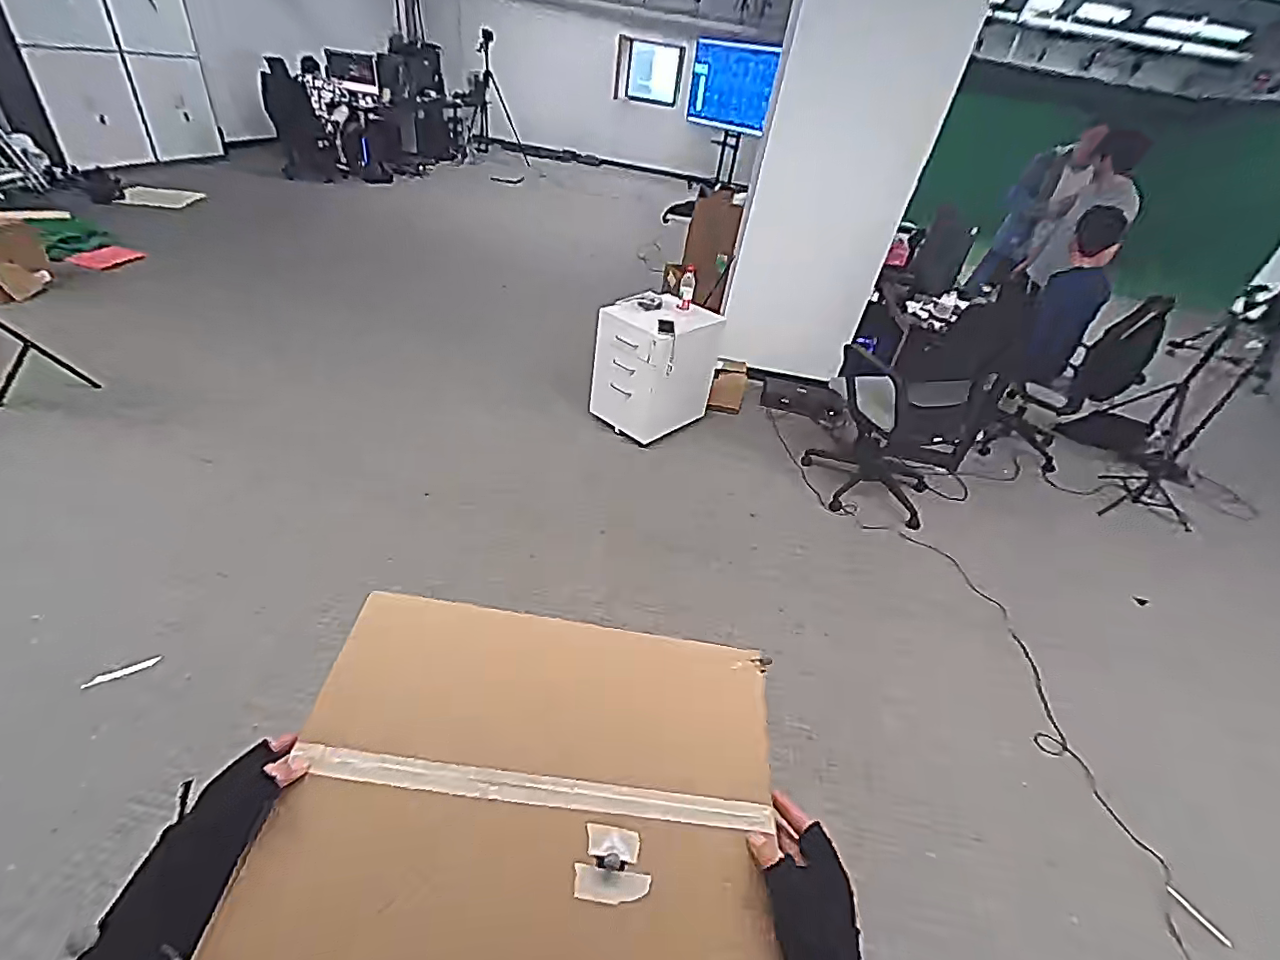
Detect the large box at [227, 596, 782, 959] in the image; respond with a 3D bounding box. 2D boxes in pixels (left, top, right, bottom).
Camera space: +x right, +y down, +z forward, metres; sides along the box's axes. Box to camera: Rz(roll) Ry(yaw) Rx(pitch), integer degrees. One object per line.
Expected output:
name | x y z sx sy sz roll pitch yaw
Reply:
large box | -0.104 0.362 0.579 0.408 0.320 0.320 11 48 -4
